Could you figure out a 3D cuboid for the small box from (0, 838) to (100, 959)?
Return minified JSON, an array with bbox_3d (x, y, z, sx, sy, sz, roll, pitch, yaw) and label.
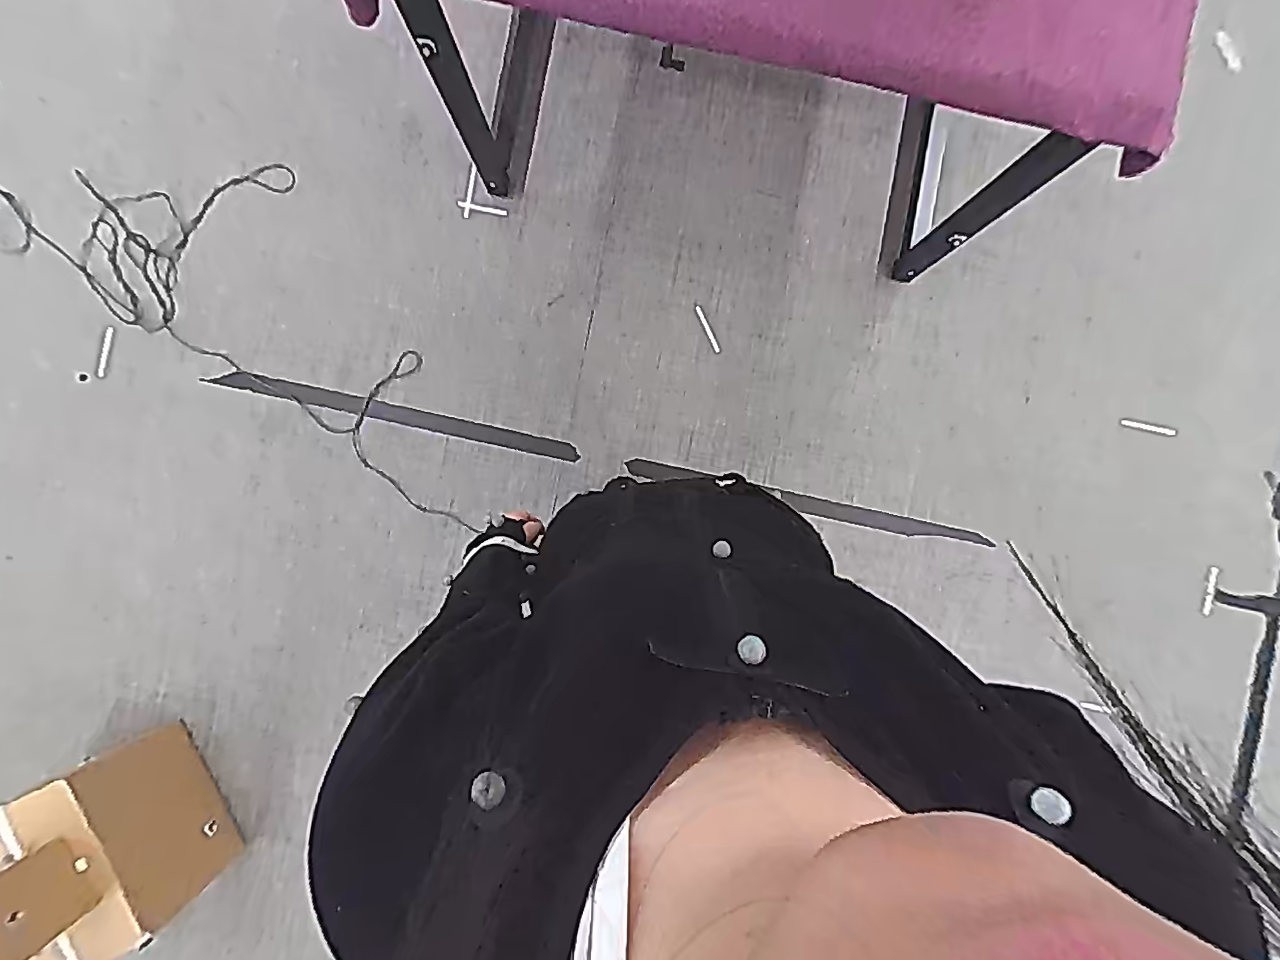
[{"bbox_3d":[-1.263,0.877,1.084,0.168,0.176,0.179,-29,89,-2],"label":"small box"}]
